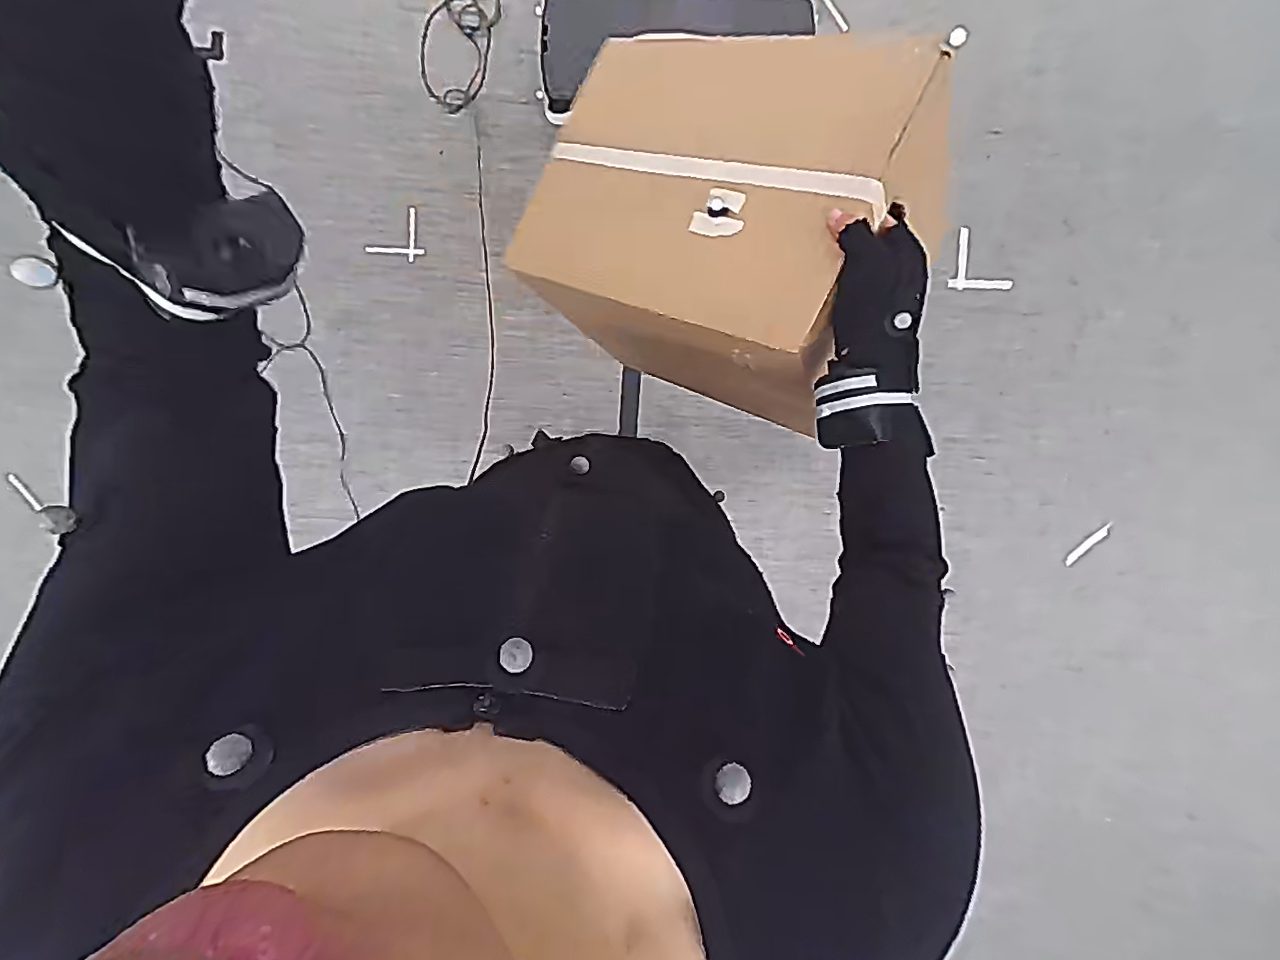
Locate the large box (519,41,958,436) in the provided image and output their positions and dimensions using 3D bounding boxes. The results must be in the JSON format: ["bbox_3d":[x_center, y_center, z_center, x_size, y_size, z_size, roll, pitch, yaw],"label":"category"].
[{"bbox_3d":[0.131,-0.301,0.712,0.408,0.320,0.320,28,91,30],"label":"large box"}]
